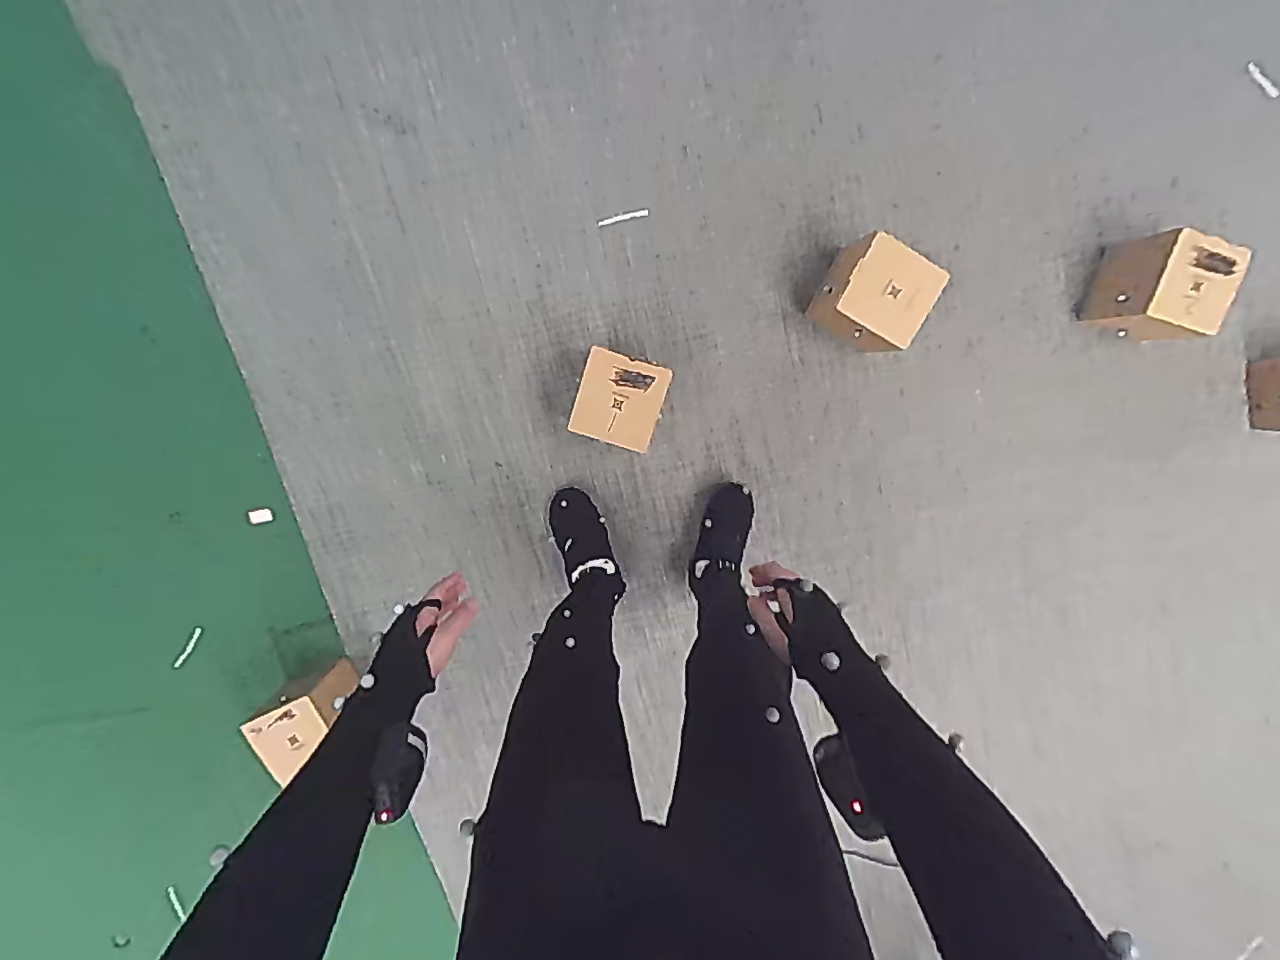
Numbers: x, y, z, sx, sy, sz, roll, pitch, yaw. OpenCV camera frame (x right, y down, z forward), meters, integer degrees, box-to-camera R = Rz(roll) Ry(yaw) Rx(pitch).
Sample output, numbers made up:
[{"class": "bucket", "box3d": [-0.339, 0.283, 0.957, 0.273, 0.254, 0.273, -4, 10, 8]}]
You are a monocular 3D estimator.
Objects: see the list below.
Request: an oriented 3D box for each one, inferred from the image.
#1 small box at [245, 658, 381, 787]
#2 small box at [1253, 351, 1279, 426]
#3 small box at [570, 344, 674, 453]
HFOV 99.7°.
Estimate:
[{"class": "small box", "box3d": [-0.730, 0.543, 1.232, 0.168, 0.176, 0.179, -25, 101, 2]}, {"class": "small box", "box3d": [1.551, -0.217, 1.218, 0.179, 0.176, 0.168, -18, 102, 0]}, {"class": "small box", "box3d": [-0.041, -0.172, 1.135, 0.168, 0.176, 0.179, 17, 100, -6]}]
